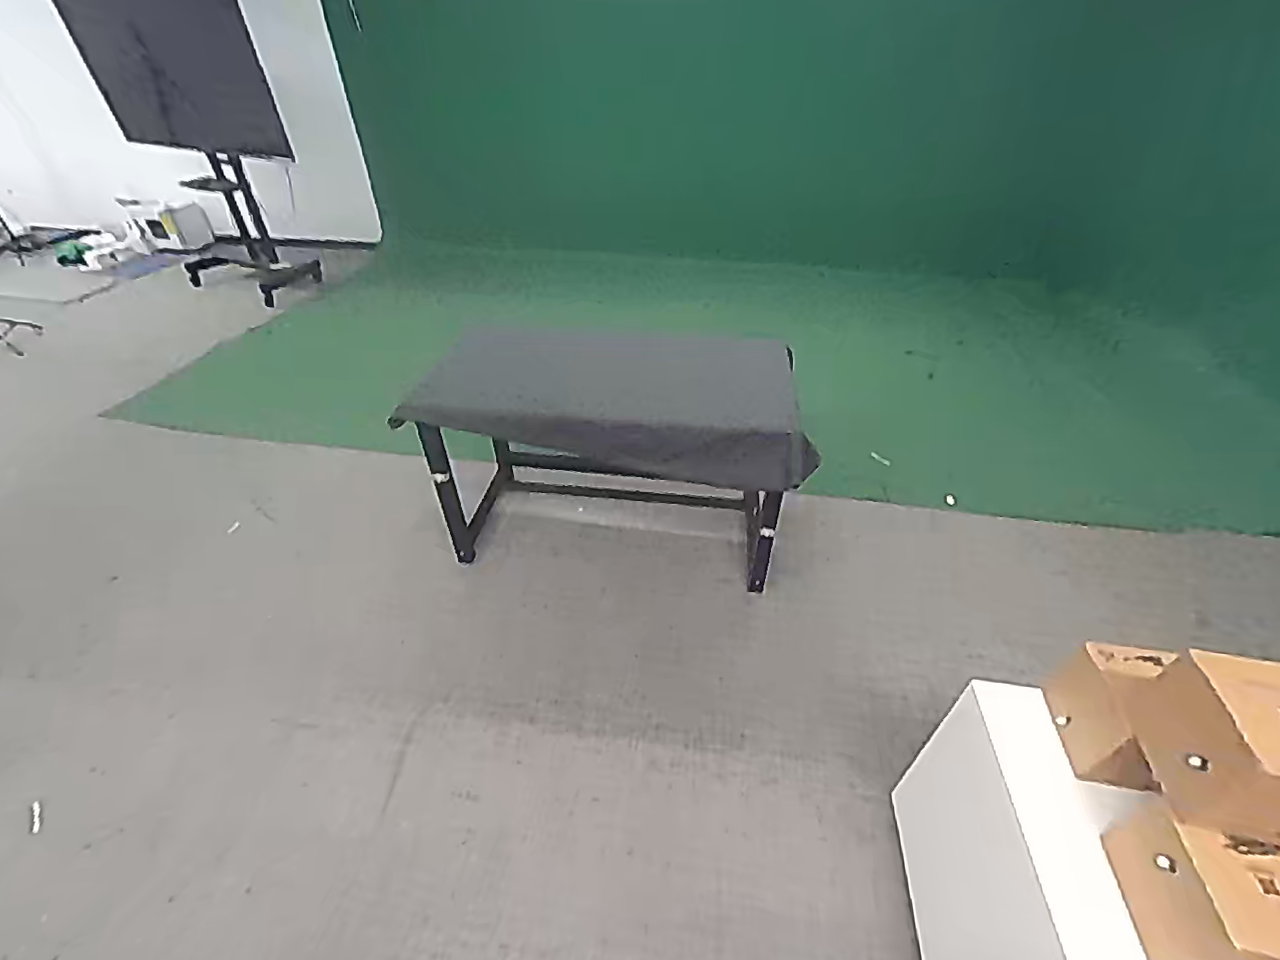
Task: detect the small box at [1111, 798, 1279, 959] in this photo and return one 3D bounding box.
[{"bbox_3d":[0.802,0.574,0.734,0.168,0.176,0.179,7,40,10],"label":"small box"}]

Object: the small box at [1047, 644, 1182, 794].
[{"bbox_3d":[0.855,0.413,0.932,0.168,0.176,0.179,6,42,8],"label":"small box"}]

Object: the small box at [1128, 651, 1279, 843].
[{"bbox_3d":[0.833,0.366,0.734,0.168,0.176,0.179,8,39,9],"label":"small box"}]
